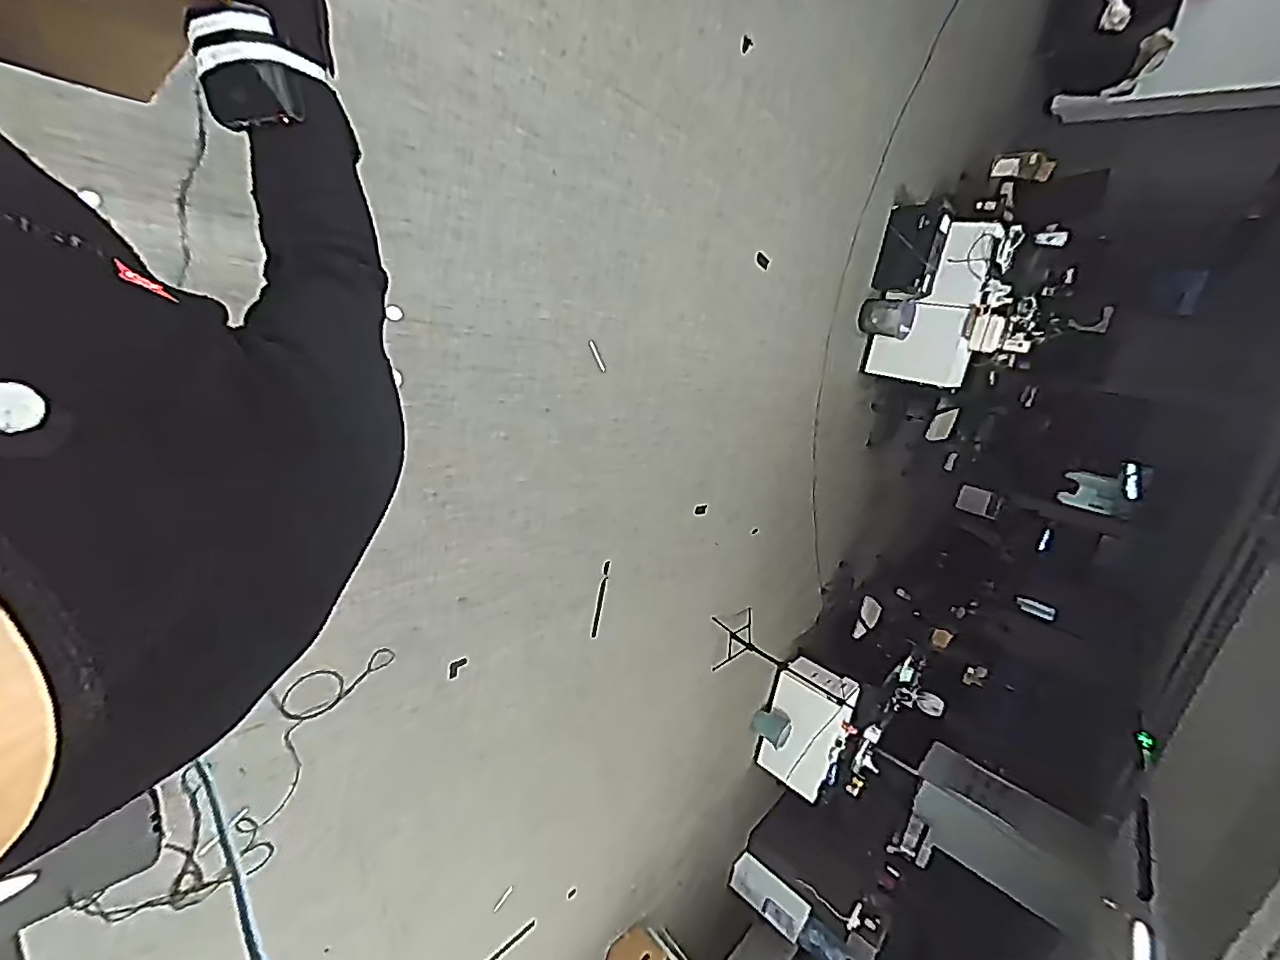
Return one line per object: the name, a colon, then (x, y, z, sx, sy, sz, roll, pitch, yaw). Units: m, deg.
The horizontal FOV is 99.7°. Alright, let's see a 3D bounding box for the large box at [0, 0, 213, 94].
large box: (-0.507, -0.471, 0.269, 0.408, 0.320, 0.320, -11, 112, -48)
